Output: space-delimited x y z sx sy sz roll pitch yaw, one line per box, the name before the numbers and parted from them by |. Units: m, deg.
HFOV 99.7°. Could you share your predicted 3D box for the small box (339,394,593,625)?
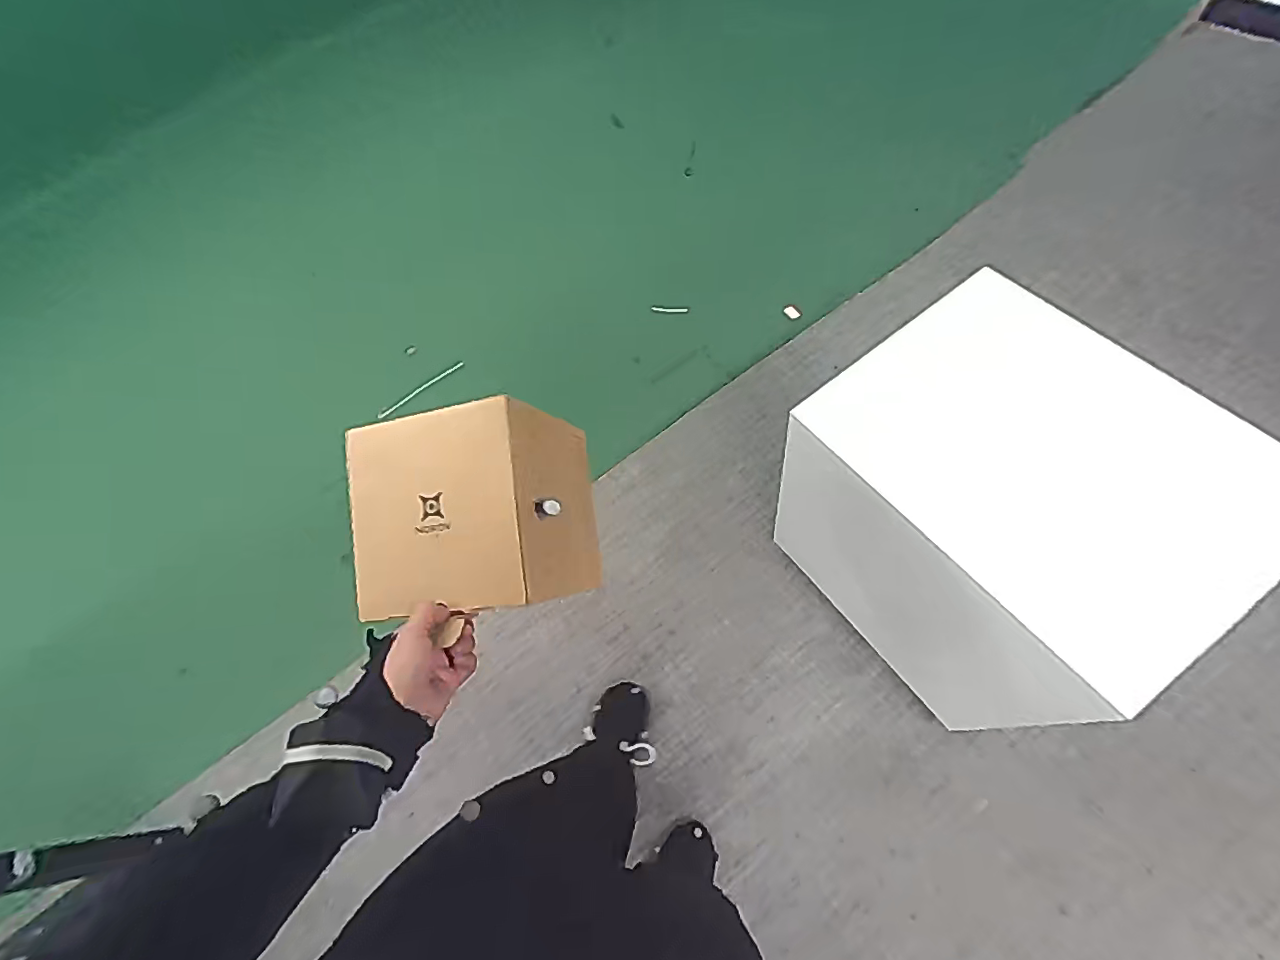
small box | -0.158 0.033 0.533 0.168 0.176 0.179 -11 84 14
